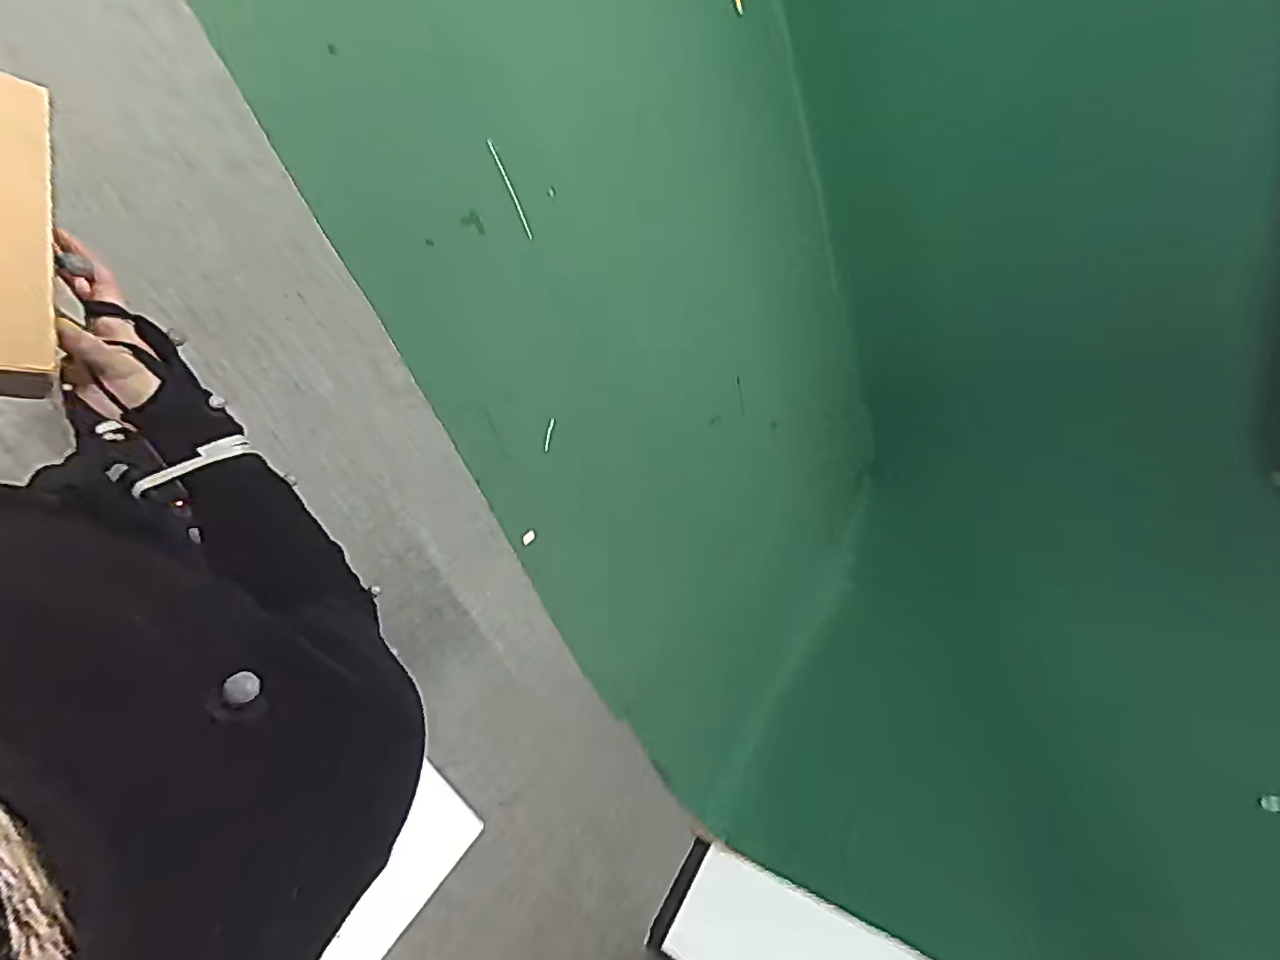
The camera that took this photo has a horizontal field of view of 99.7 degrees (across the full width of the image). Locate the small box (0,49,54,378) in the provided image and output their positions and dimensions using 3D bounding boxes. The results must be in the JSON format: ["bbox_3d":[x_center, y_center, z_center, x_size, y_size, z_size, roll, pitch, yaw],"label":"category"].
[{"bbox_3d":[-0.472,-0.162,0.314,0.168,0.176,0.179,-4,95,-50],"label":"small box"}]
